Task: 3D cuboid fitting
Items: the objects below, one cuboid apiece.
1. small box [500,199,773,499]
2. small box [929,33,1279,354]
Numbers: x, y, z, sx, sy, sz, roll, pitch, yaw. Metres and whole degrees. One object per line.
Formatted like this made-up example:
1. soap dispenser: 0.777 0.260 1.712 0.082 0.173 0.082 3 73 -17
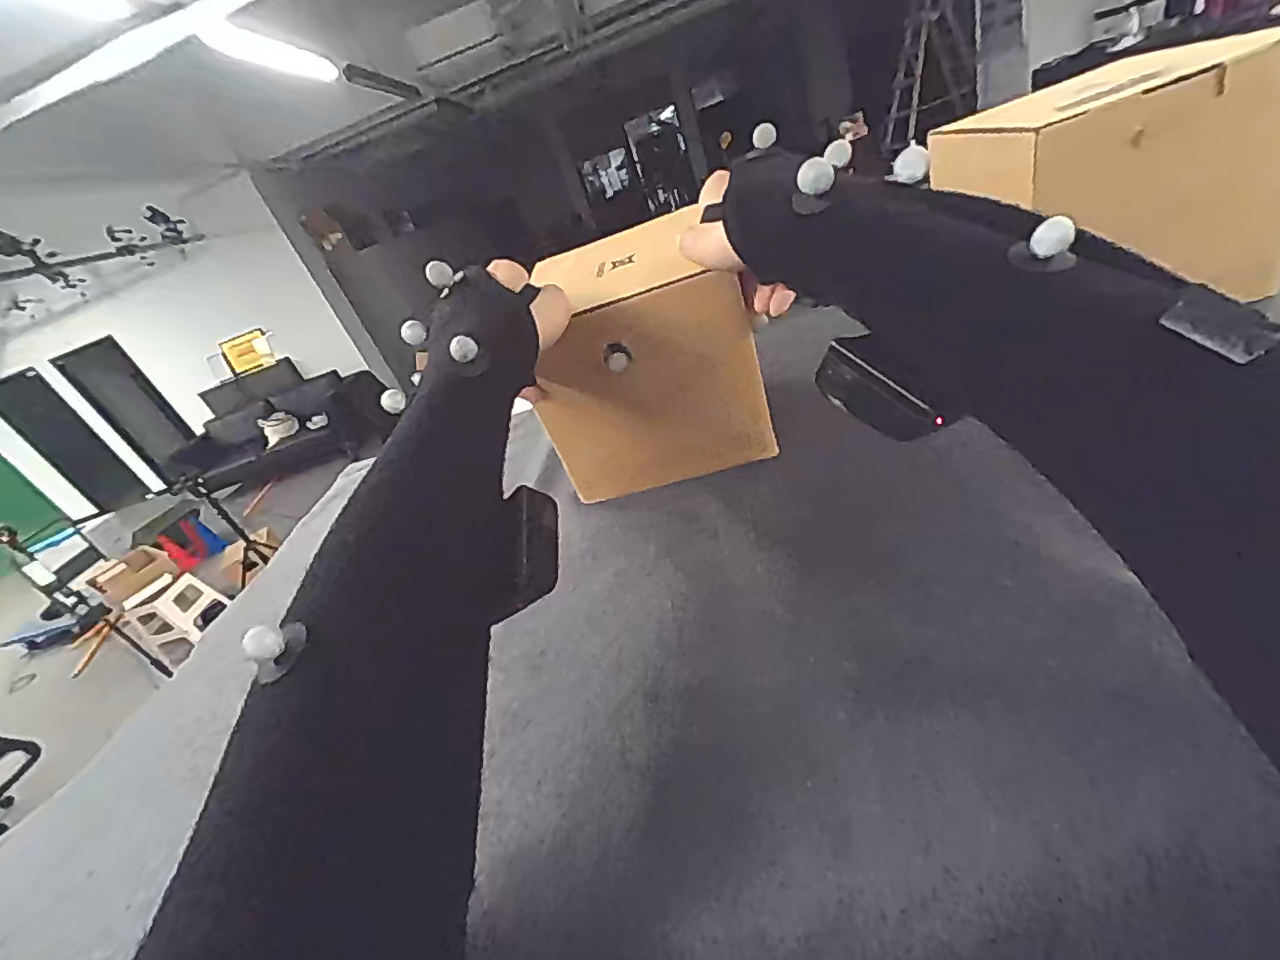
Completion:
1. small box: 0.011 -0.108 0.470 0.179 0.176 0.168 -15 38 14
2. small box: 0.360 -0.219 0.440 0.168 0.176 0.179 -15 29 12
